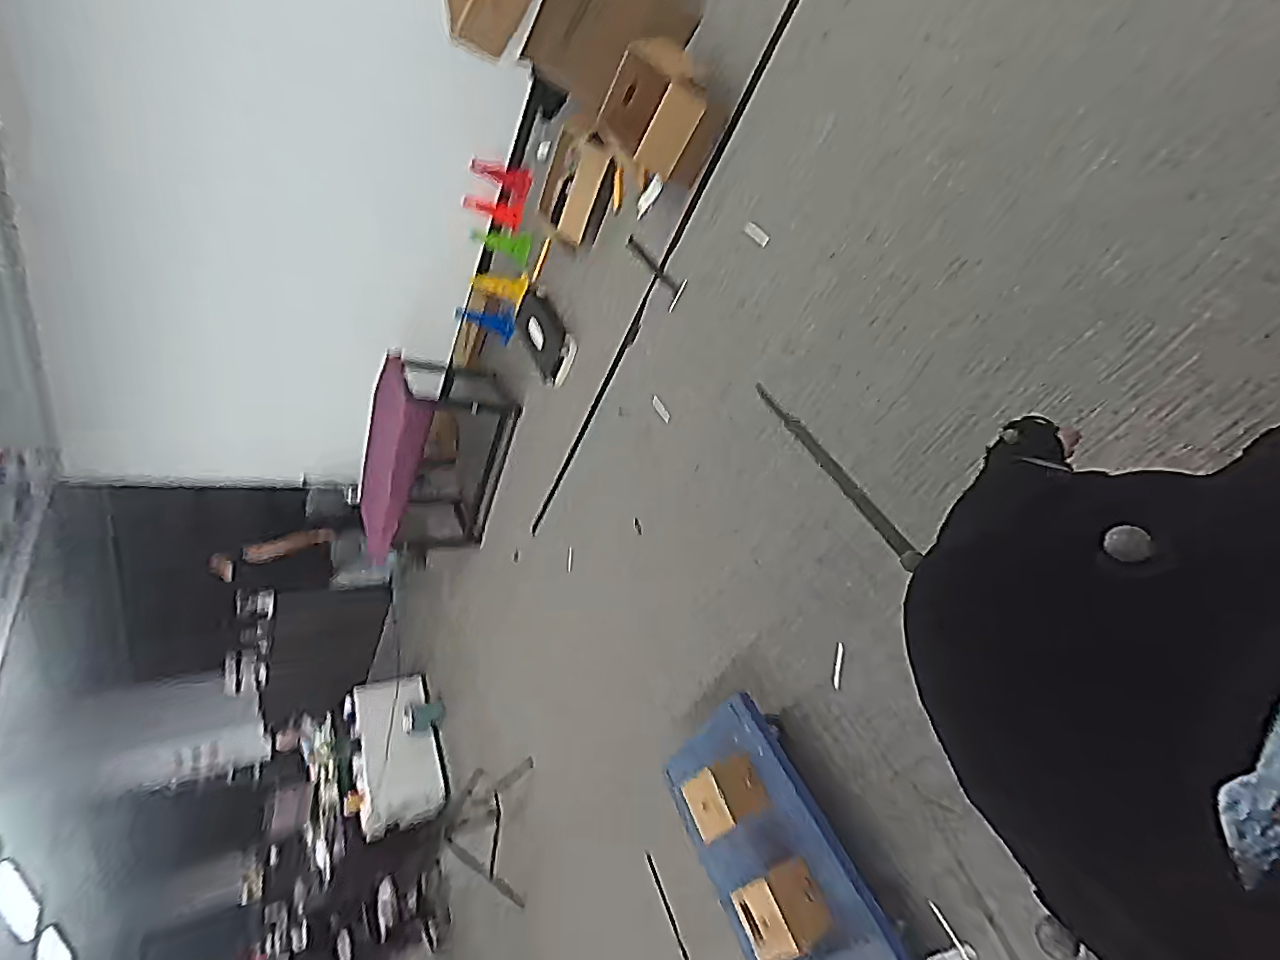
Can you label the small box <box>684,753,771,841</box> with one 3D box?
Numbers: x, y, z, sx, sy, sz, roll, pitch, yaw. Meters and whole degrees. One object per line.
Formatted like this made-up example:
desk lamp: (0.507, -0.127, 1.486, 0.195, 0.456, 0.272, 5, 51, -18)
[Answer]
small box: (0.275, 0.988, 1.691, 0.179, 0.176, 0.168, -56, 49, 35)
